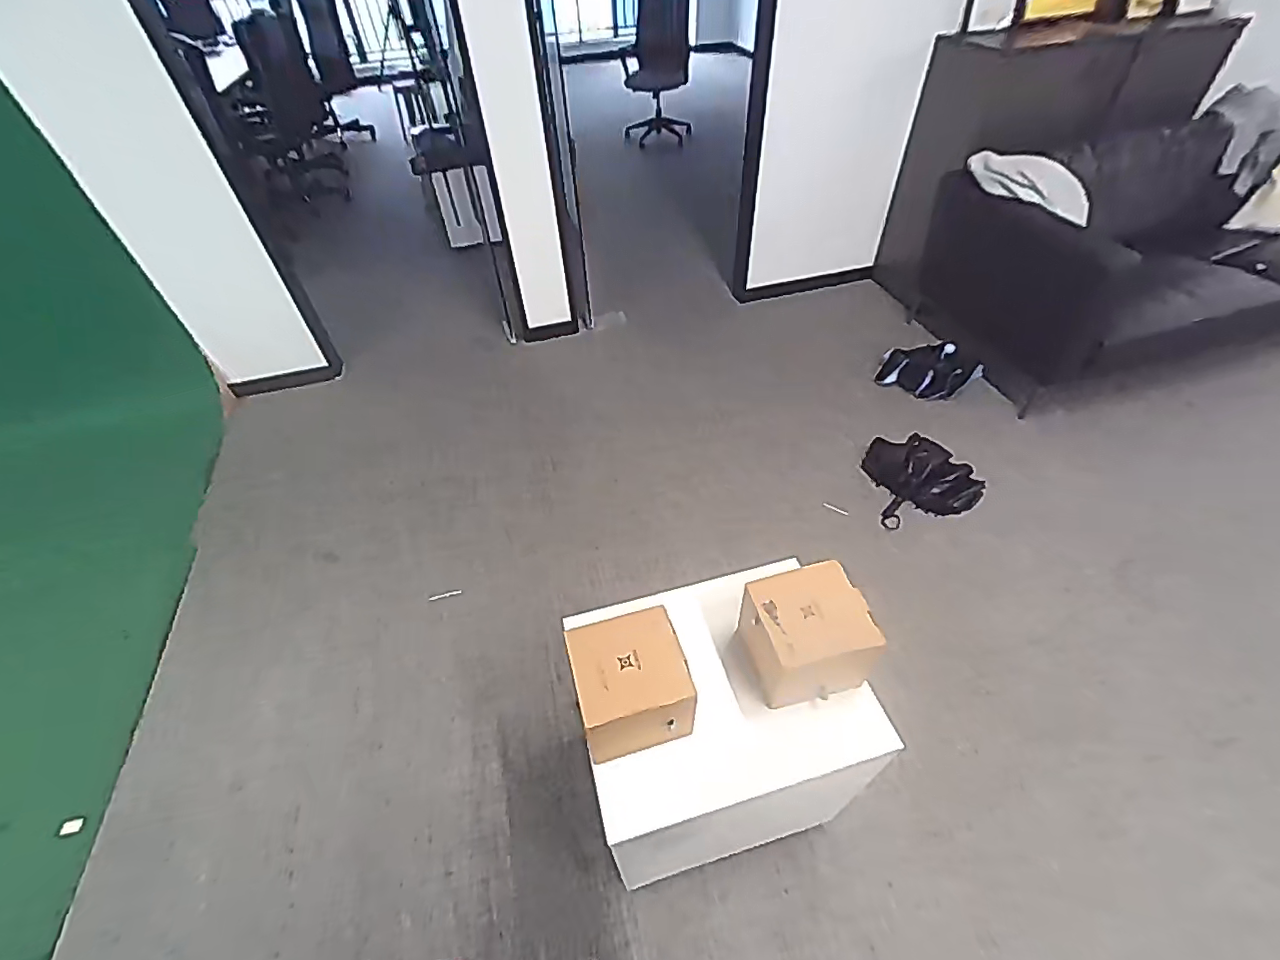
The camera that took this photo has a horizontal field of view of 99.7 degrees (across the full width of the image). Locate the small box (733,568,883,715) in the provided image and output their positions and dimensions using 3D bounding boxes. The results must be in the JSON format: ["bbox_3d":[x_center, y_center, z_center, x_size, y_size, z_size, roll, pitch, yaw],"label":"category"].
[{"bbox_3d":[0.278,0.282,0.940,0.179,0.176,0.168,-11,47,-11],"label":"small box"}]

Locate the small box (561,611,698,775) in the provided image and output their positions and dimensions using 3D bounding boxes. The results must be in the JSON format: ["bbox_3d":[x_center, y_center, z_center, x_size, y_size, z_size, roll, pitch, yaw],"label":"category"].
[{"bbox_3d":[-0.022,0.345,0.877,0.179,0.176,0.168,-13,46,-13],"label":"small box"}]
